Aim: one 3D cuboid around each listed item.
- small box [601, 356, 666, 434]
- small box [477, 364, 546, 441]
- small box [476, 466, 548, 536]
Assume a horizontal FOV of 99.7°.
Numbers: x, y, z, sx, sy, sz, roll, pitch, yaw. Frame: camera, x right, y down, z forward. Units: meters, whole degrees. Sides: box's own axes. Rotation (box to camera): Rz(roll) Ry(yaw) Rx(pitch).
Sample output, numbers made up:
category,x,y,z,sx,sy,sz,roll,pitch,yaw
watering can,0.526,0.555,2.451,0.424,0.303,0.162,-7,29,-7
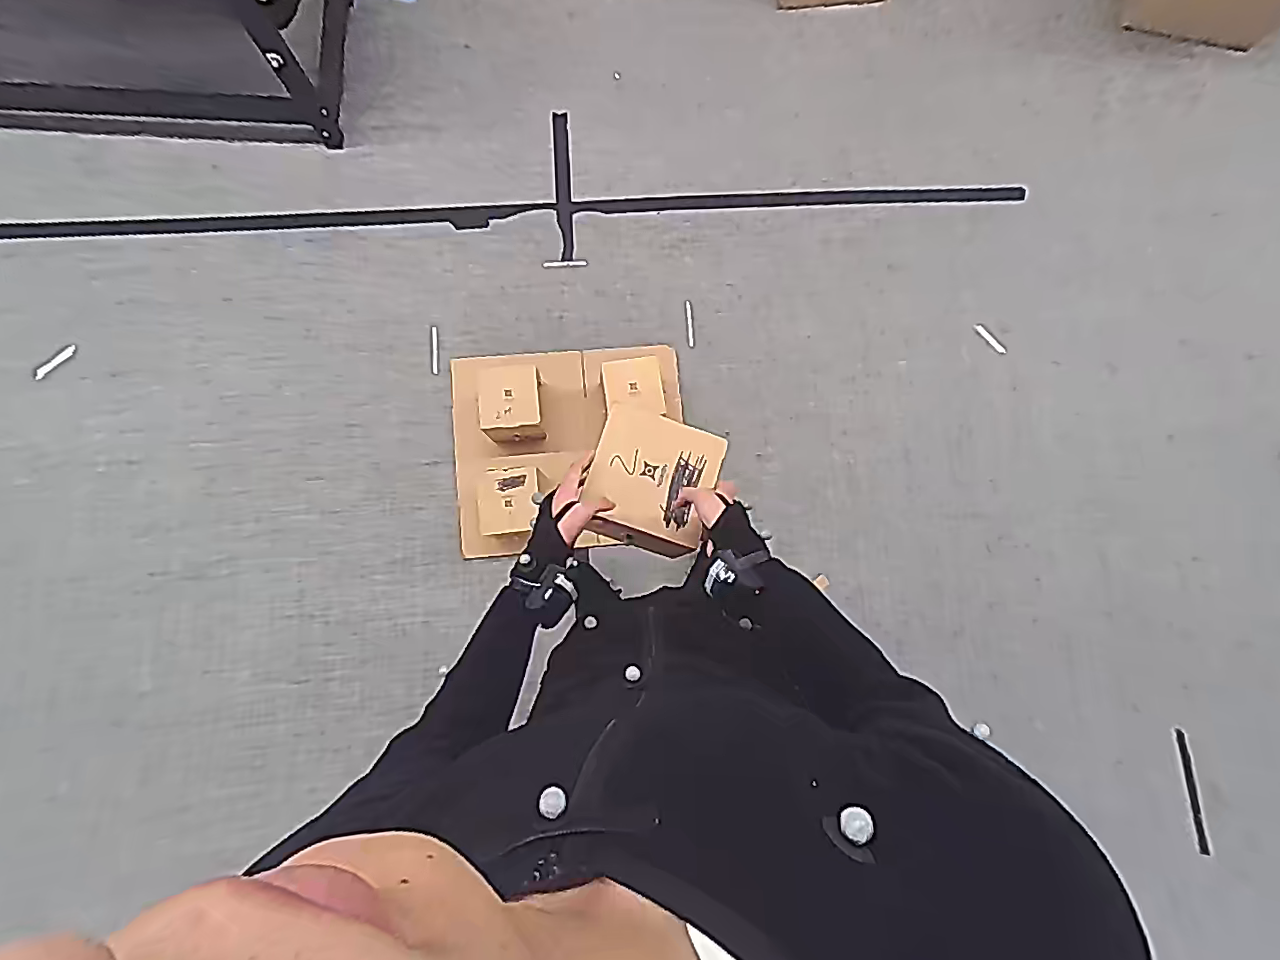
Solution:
category,x,y,z,sx,sy,sz,roll,pitch,yaw
small box,-0.025,-0.245,1.595,0.168,0.176,0.179,-9,83,-5
small box,-0.366,-0.219,1.561,0.168,0.176,0.179,-6,83,-4
small box,-0.357,0.064,1.526,0.168,0.176,0.179,-6,84,-4
